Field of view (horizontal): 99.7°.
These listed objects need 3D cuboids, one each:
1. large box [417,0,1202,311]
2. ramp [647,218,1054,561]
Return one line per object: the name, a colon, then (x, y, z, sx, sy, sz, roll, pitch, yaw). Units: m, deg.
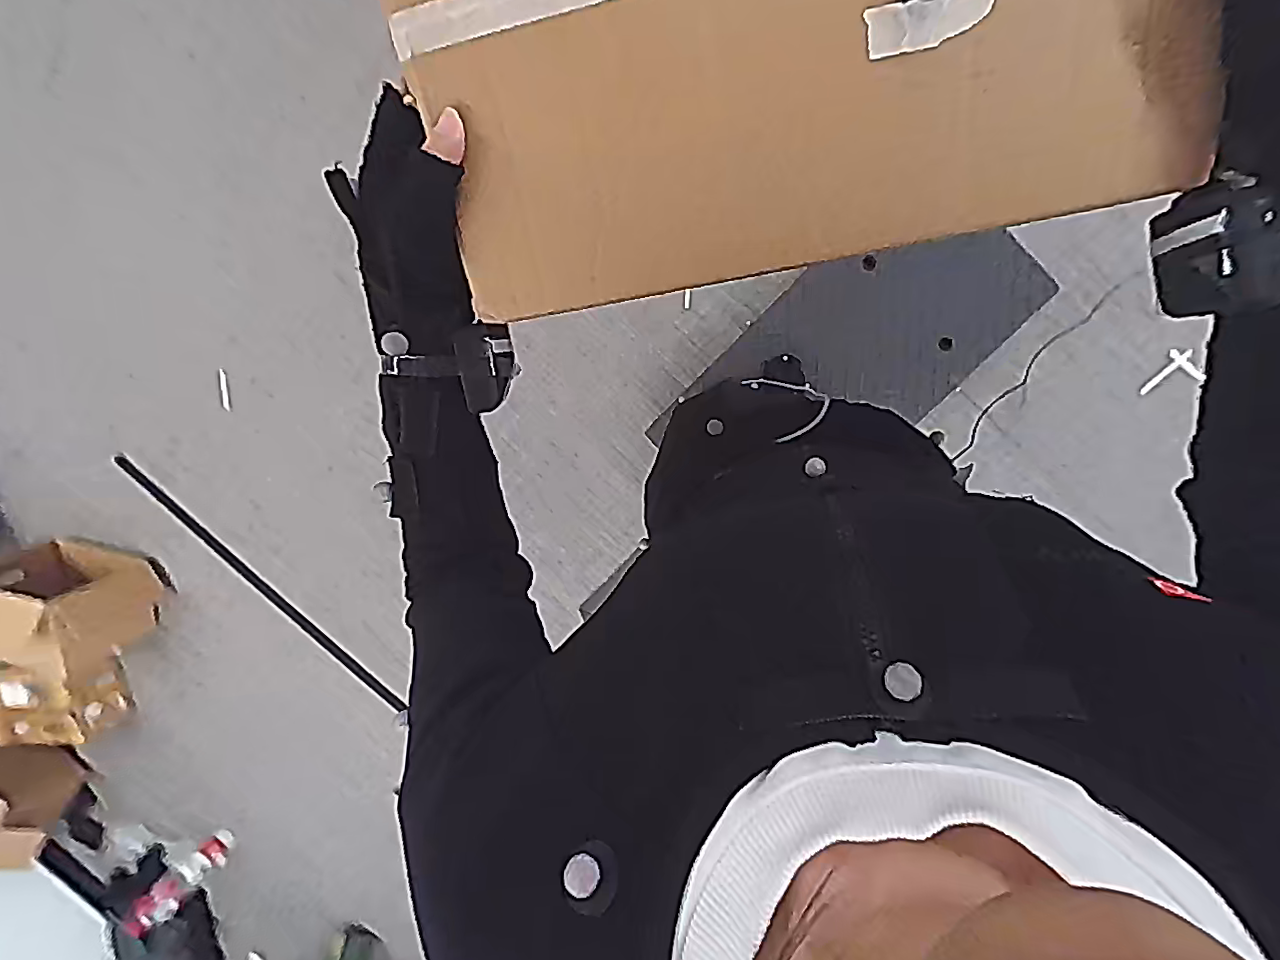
large box: (0.085, -0.334, 0.413, 0.408, 0.320, 0.320, -7, 111, 10)
ramp: (0.530, -0.299, 1.407, 0.509, 0.206, 0.991, 43, 105, 0)
